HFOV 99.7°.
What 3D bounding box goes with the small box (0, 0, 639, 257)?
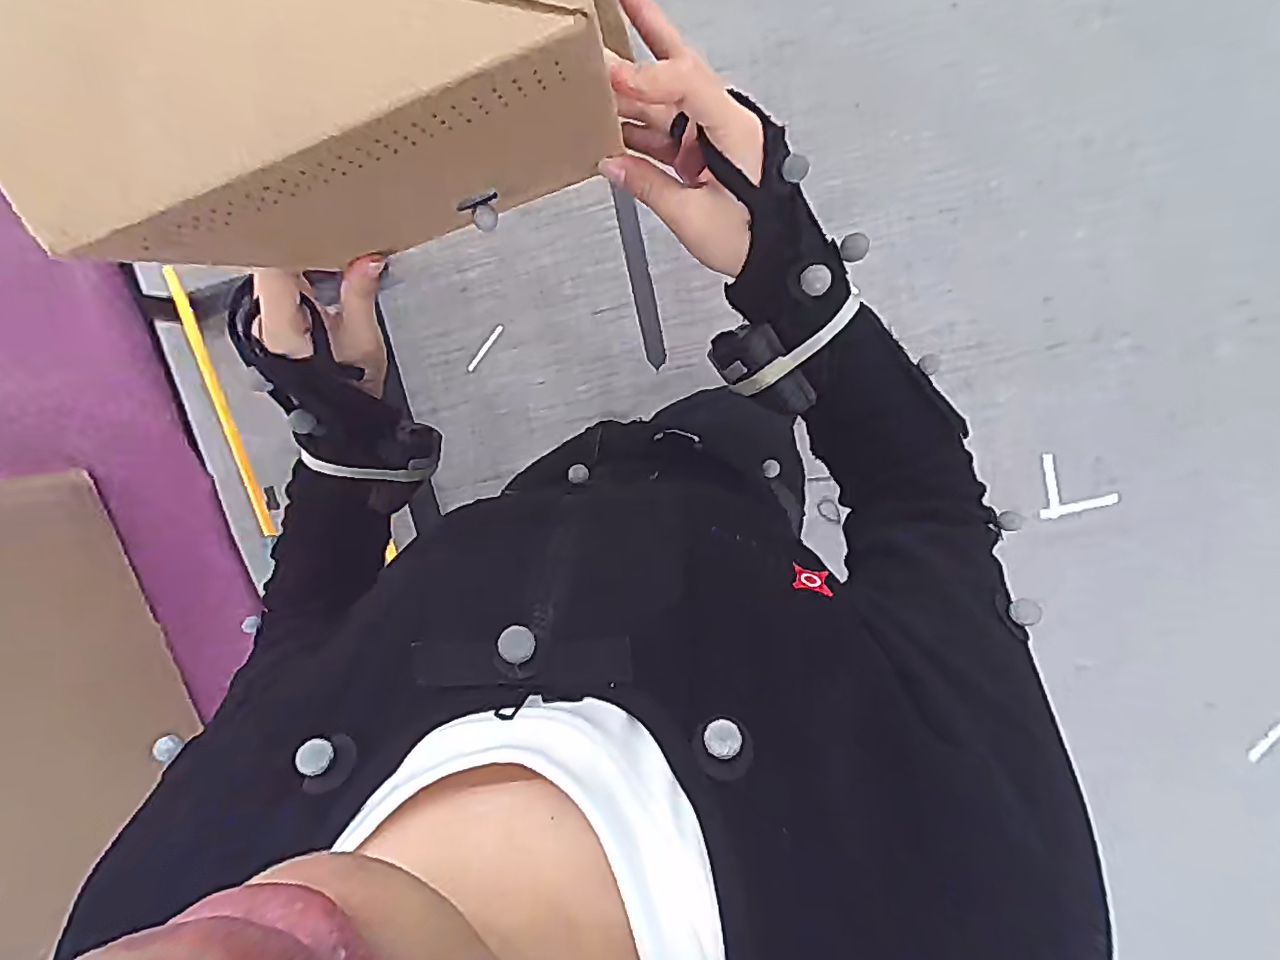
[{"bbox_3d":[-0.108,-0.195,0.198,0.179,0.176,0.168,-17,108,7],"label":"small box"}]
